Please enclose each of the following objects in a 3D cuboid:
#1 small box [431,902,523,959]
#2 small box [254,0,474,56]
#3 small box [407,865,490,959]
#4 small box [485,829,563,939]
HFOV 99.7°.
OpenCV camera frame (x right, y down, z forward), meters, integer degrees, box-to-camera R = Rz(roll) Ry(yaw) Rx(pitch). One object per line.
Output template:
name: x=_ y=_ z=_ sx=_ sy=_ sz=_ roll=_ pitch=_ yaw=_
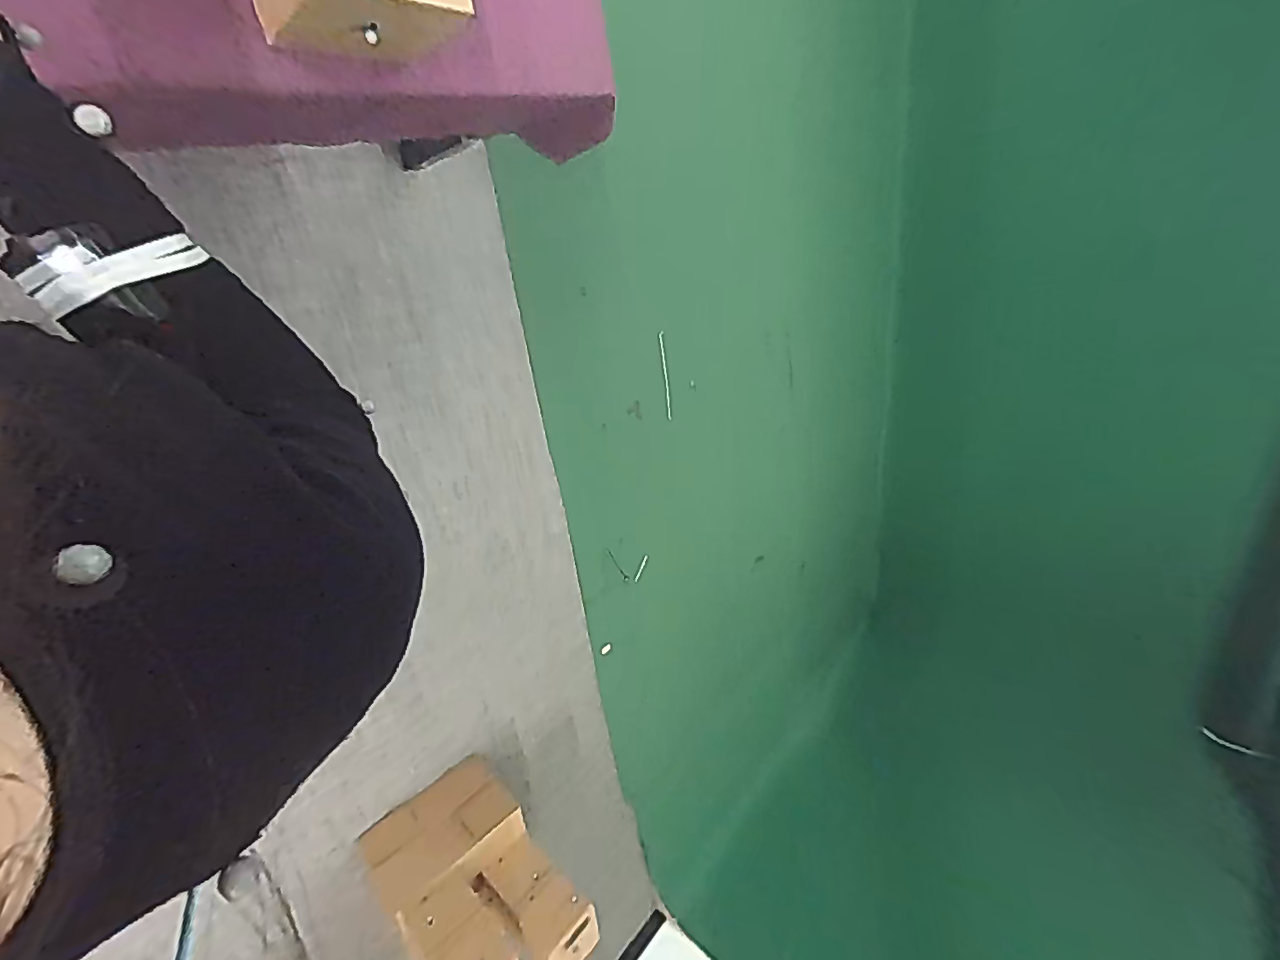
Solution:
small box: x=-0.411 y=1.239 z=1.365 sx=0.179 sy=0.176 sz=0.168 roll=-20 pitch=116 yaw=-42
small box: x=-0.313 y=-0.585 z=0.578 sx=0.179 sy=0.176 sz=0.168 roll=-29 pitch=120 yaw=-38
small box: x=-0.520 y=1.209 z=1.483 sx=0.168 sy=0.176 sz=0.179 roll=-20 pitch=117 yaw=-41
small box: x=-0.357 y=1.236 z=1.669 sx=0.168 sy=0.176 sz=0.179 roll=-22 pitch=119 yaw=-43
